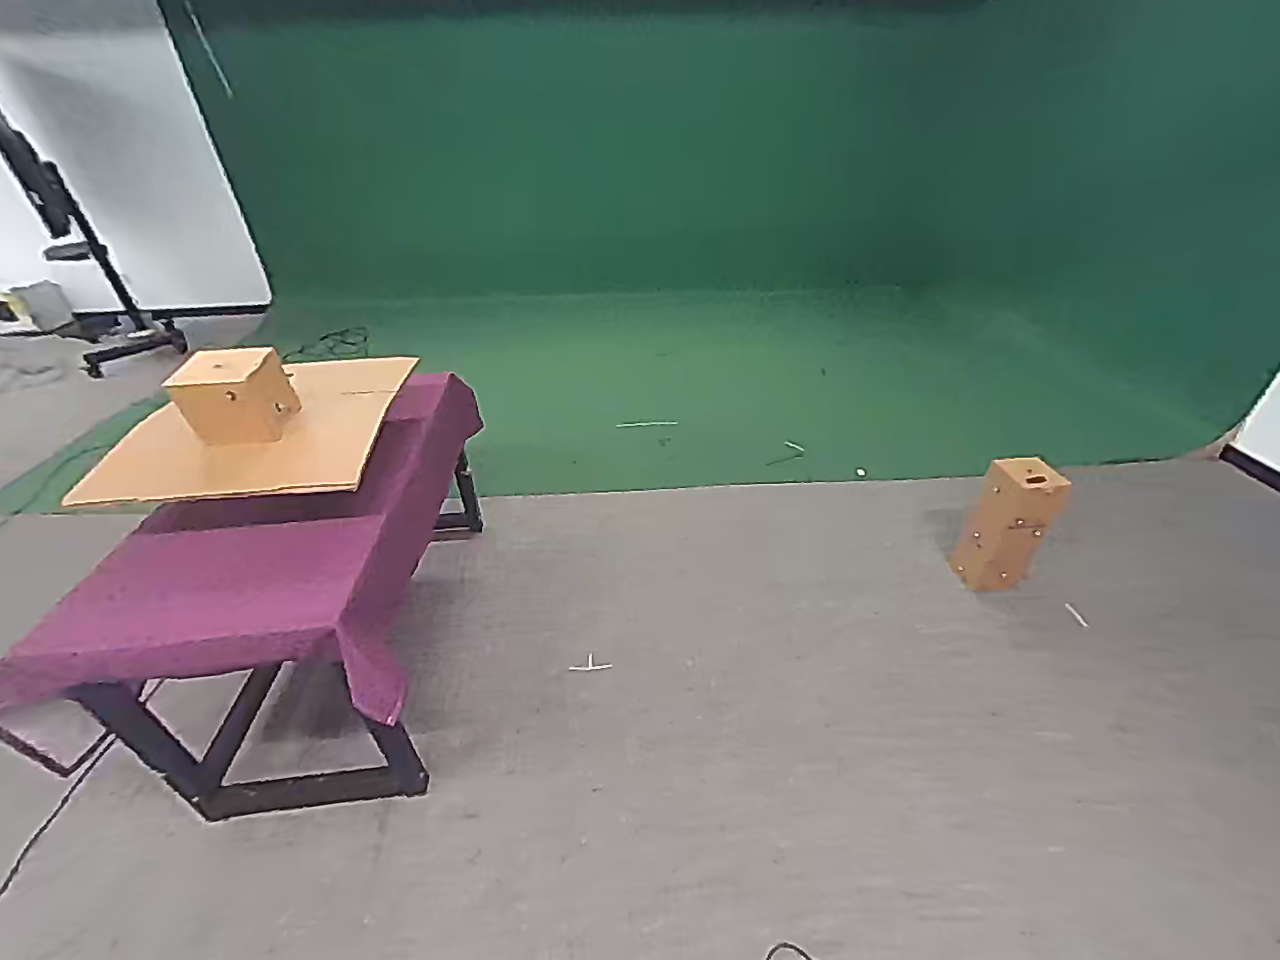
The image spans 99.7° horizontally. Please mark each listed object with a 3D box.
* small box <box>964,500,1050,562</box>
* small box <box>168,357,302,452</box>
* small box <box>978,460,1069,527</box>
[{"bbox_3d":[1.323,0.180,1.965,0.179,0.176,0.168,-6,34,-4],"label":"small box"},{"bbox_3d":[-0.972,-0.182,1.317,0.179,0.176,0.168,-4,41,-5],"label":"small box"},{"bbox_3d":[1.313,0.050,1.865,0.168,0.176,0.179,-4,34,-2],"label":"small box"}]
